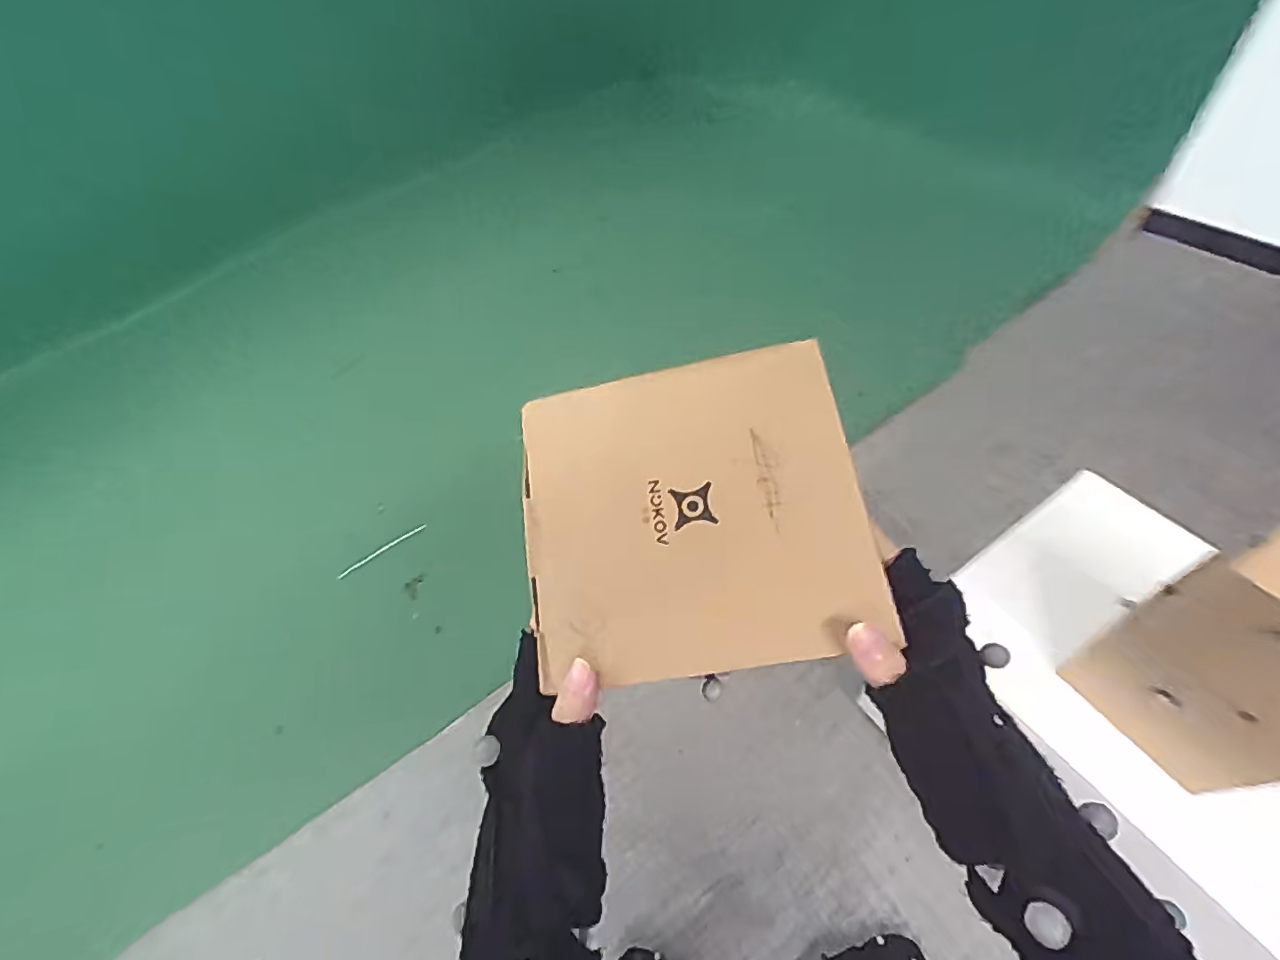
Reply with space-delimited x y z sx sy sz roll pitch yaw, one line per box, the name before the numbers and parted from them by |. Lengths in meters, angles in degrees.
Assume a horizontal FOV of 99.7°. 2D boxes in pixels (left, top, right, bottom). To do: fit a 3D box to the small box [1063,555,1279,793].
small box | 0.648 0.226 0.621 0.168 0.176 0.179 -31 55 -9
